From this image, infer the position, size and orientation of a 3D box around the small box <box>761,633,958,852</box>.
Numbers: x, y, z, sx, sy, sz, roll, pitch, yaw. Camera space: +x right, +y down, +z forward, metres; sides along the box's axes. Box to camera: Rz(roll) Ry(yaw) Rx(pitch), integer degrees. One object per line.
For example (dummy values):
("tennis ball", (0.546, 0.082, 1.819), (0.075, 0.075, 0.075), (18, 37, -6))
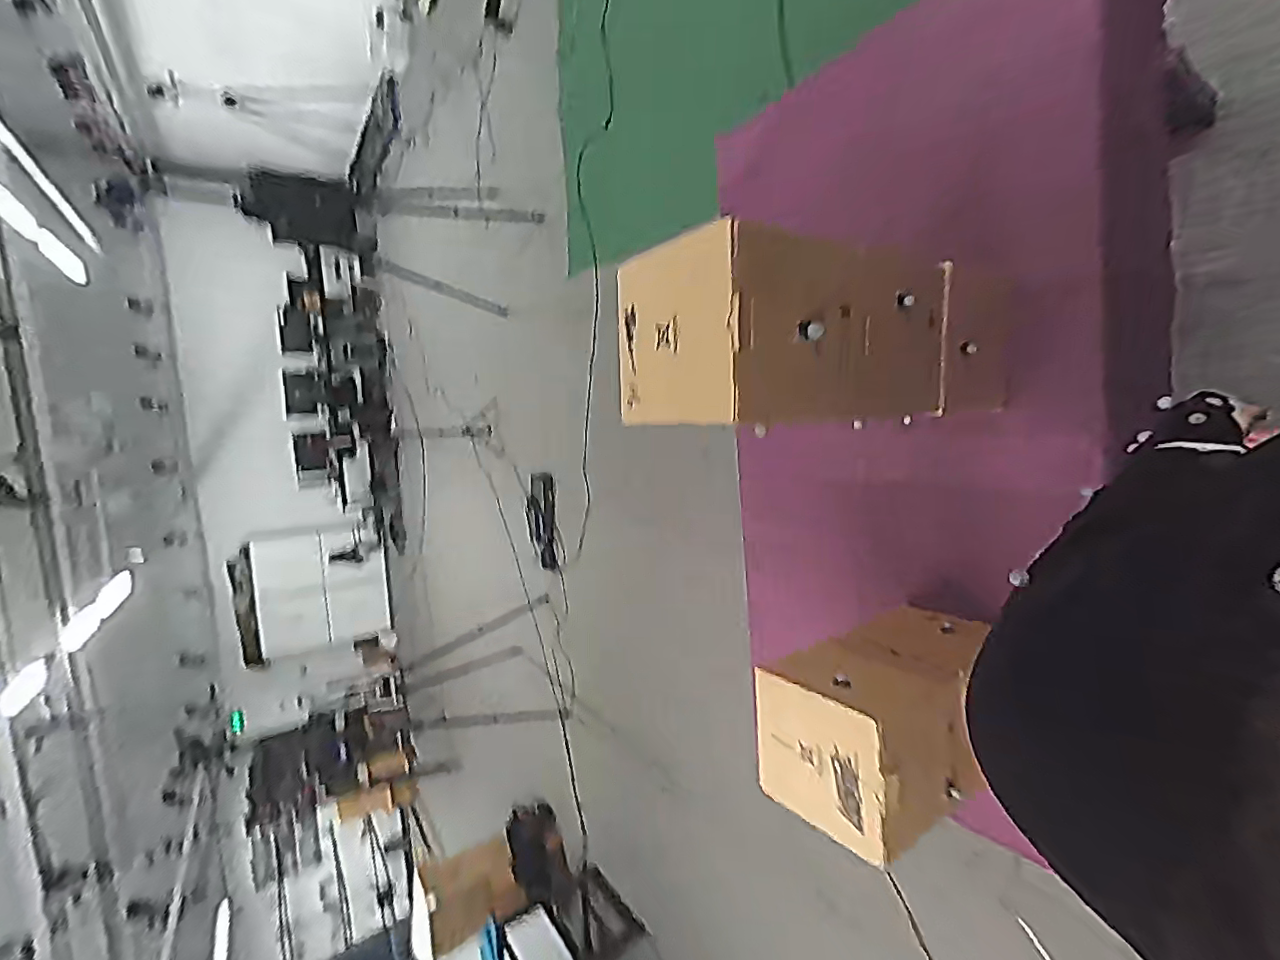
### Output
("small box", (0.278, 0.309, 0.685), (0.179, 0.176, 0.168), (3, 97, 57))

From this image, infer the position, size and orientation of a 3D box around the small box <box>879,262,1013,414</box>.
("small box", (0.379, -0.184, 0.737), (0.168, 0.176, 0.179), (11, 105, 55))

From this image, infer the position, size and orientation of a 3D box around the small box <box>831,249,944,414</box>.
("small box", (0.239, -0.168, 0.655), (0.179, 0.176, 0.168), (11, 105, 56))

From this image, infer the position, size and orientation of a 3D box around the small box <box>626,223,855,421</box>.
("small box", (0.103, -0.148, 0.565), (0.179, 0.176, 0.168), (9, 102, 55))

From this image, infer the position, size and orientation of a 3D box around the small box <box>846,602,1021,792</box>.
("small box", (0.417, 0.292, 0.771), (0.168, 0.176, 0.179), (4, 98, 56))
